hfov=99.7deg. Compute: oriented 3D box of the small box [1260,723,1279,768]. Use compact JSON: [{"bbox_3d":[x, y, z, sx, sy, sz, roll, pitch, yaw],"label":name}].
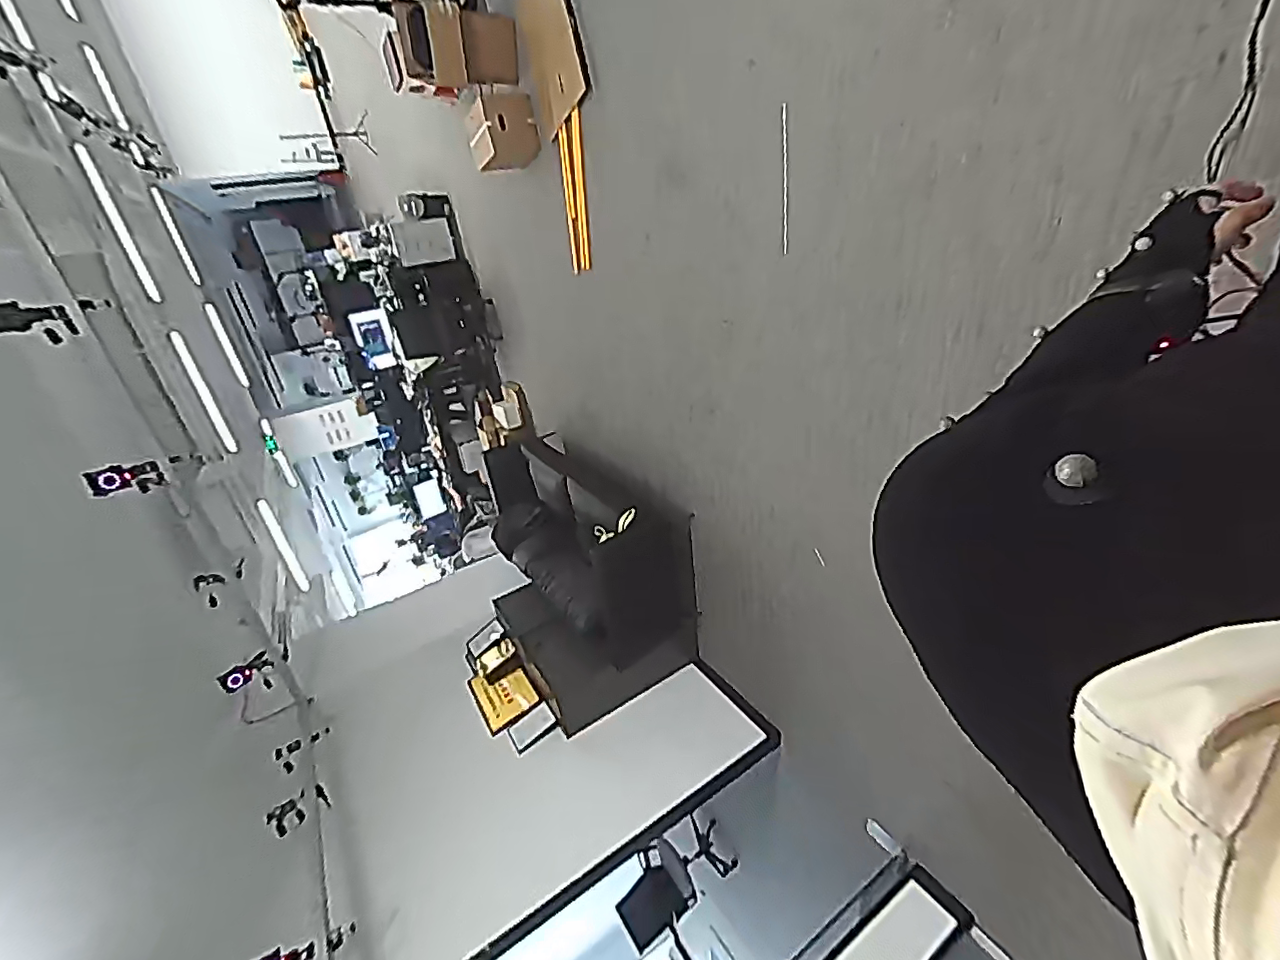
[{"bbox_3d":[1.495,0.552,1.146,0.168,0.176,0.179,34,139,49],"label":"small box"}]
